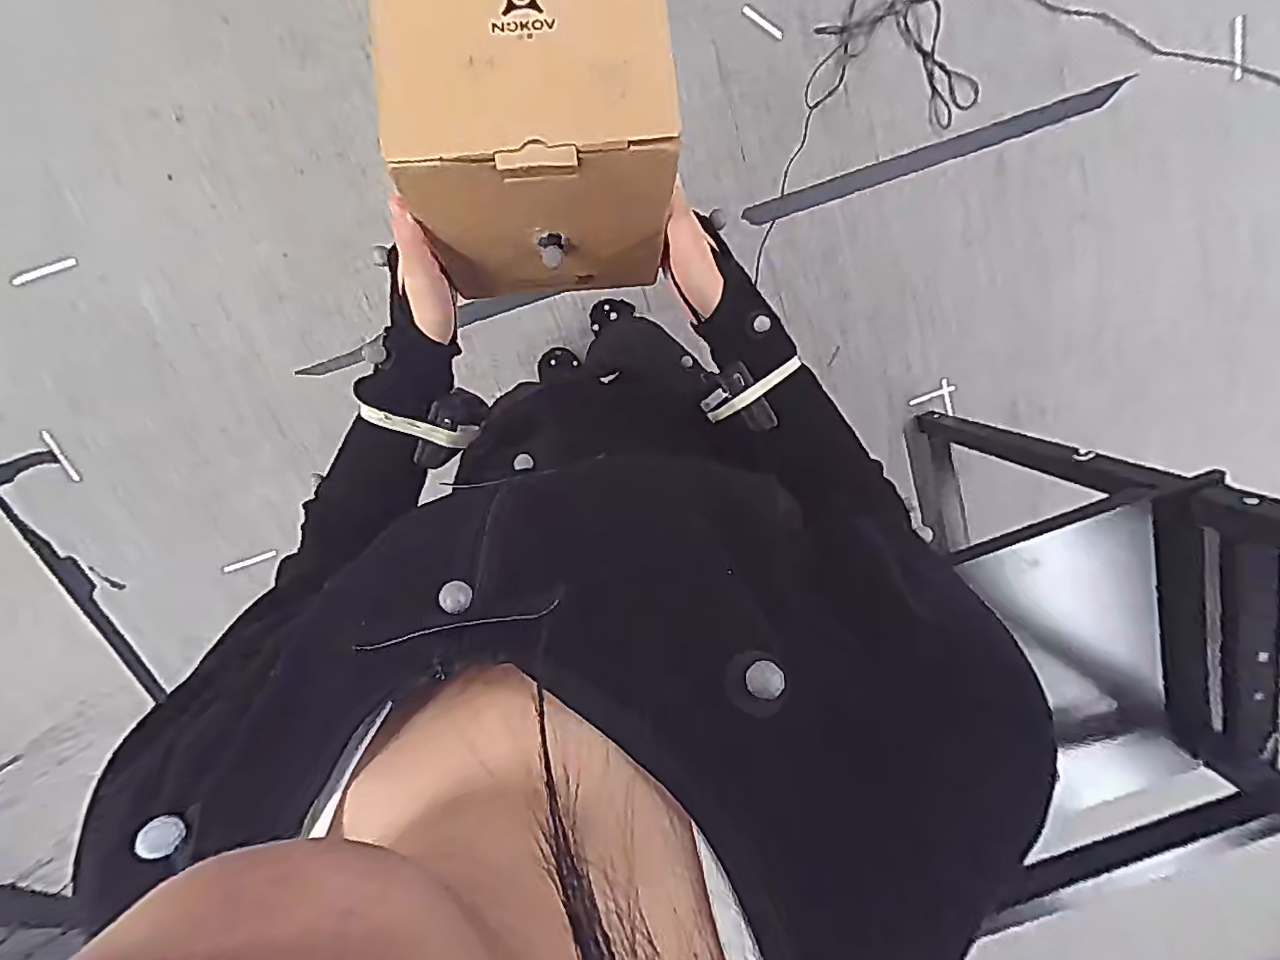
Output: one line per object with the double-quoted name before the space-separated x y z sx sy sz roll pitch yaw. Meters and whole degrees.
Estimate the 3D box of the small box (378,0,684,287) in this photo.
"small box" -0.067 -0.251 0.383 0.168 0.176 0.179 -6 85 -5
